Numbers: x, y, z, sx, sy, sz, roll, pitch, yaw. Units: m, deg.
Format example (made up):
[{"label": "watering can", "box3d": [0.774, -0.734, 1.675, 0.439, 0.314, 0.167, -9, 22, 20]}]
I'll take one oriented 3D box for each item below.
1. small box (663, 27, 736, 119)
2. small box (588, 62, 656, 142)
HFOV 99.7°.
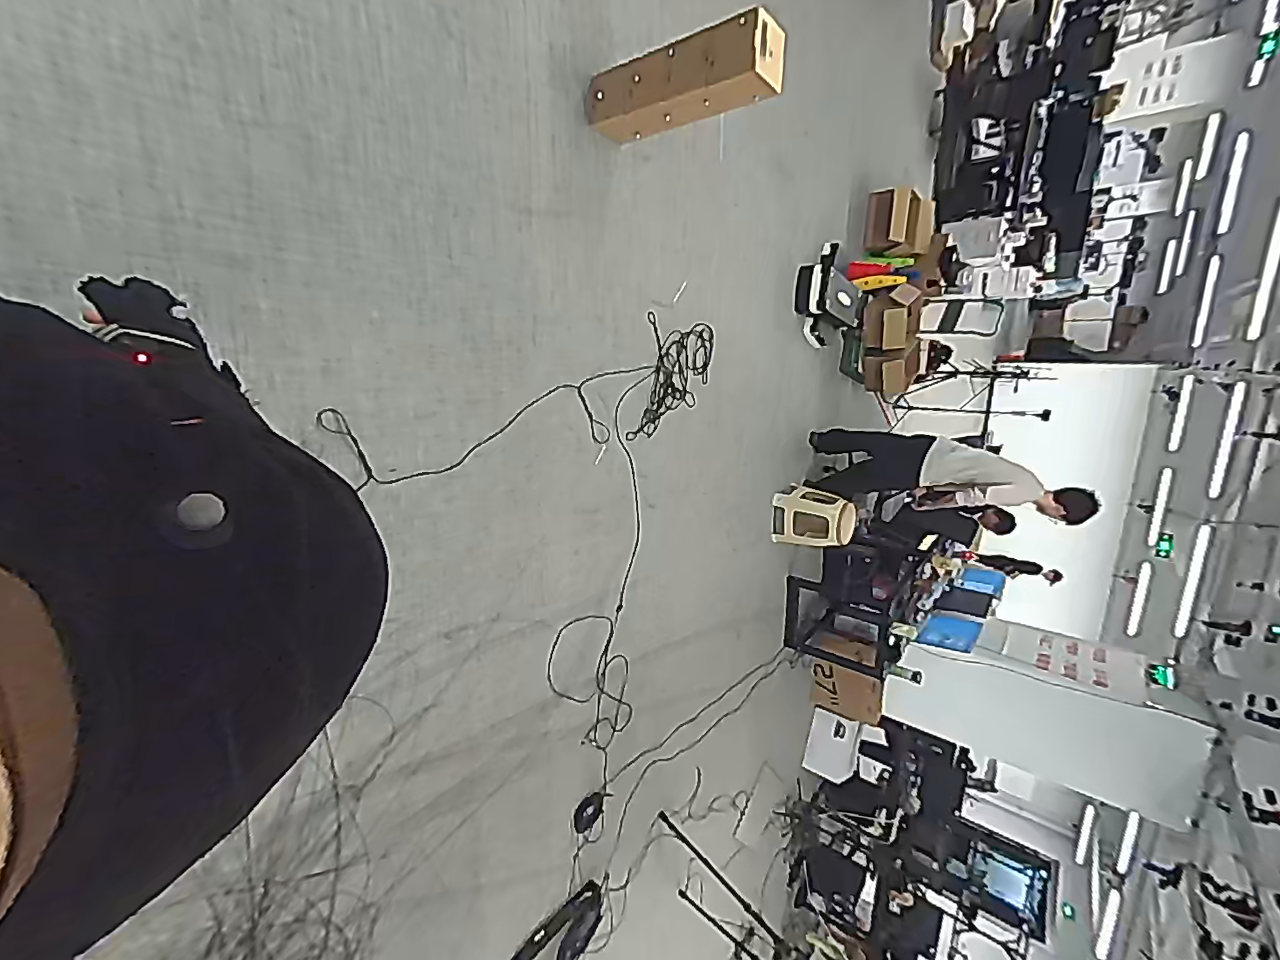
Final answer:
[{"label": "small box", "box3d": [0.190, -1.304, 1.751, 0.179, 0.176, 0.168, -10, 107, -51]}, {"label": "small box", "box3d": [-0.064, -1.352, 1.950, 0.179, 0.176, 0.168, -6, 103, -51]}]
